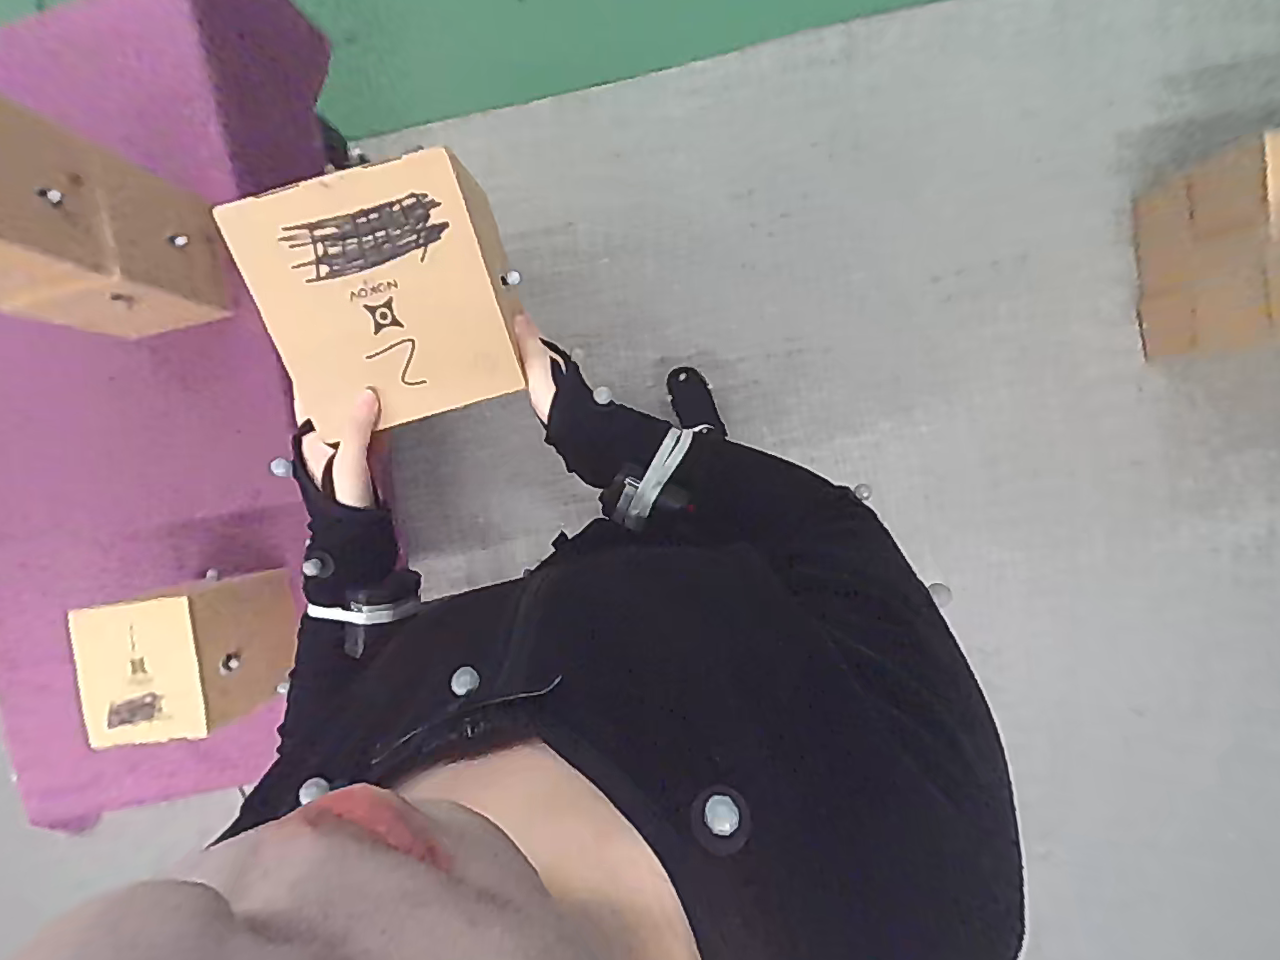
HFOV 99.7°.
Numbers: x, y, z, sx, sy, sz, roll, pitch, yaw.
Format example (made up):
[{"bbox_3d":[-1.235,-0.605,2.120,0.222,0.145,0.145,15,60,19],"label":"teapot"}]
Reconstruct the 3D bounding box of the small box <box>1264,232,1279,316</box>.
[{"bbox_3d":[1.295,-0.395,0.967,0.168,0.176,0.179,-9,92,4],"label":"small box"}]

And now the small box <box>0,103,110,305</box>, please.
[{"bbox_3d":[-0.727,-0.295,0.563,0.179,0.176,0.168,-11,92,4],"label":"small box"}]

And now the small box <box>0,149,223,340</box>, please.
[{"bbox_3d":[-0.705,-0.299,0.725,0.179,0.176,0.168,-11,91,6],"label":"small box"}]

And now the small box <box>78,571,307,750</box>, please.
[{"bbox_3d":[-0.595,0.237,0.743,0.168,0.176,0.179,-9,91,5],"label":"small box"}]
